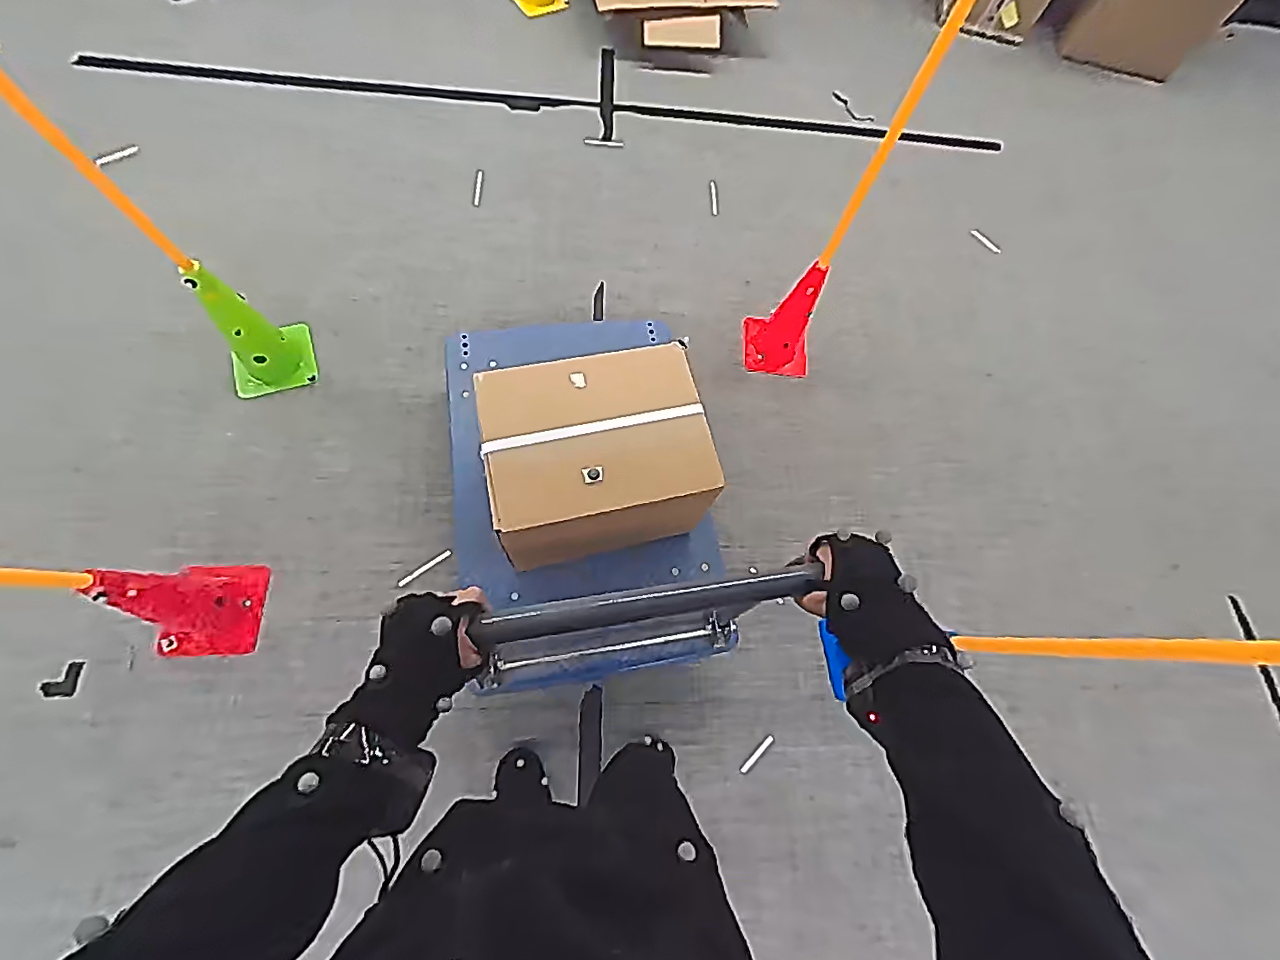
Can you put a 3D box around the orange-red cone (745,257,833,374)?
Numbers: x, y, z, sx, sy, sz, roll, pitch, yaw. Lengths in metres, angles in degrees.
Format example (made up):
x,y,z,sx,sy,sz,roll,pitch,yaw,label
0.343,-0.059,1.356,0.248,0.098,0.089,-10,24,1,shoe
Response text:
x,y,z,sx,sy,sz,roll,pitch,yaw,label
0.446,-0.481,1.512,0.199,0.360,0.198,8,69,-5,orange-red cone

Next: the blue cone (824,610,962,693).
x,y,z,sx,sy,sz,roll,pitch,yaw,label
0.588,0.367,1.212,0.193,0.380,0.192,-2,68,-8,blue cone
